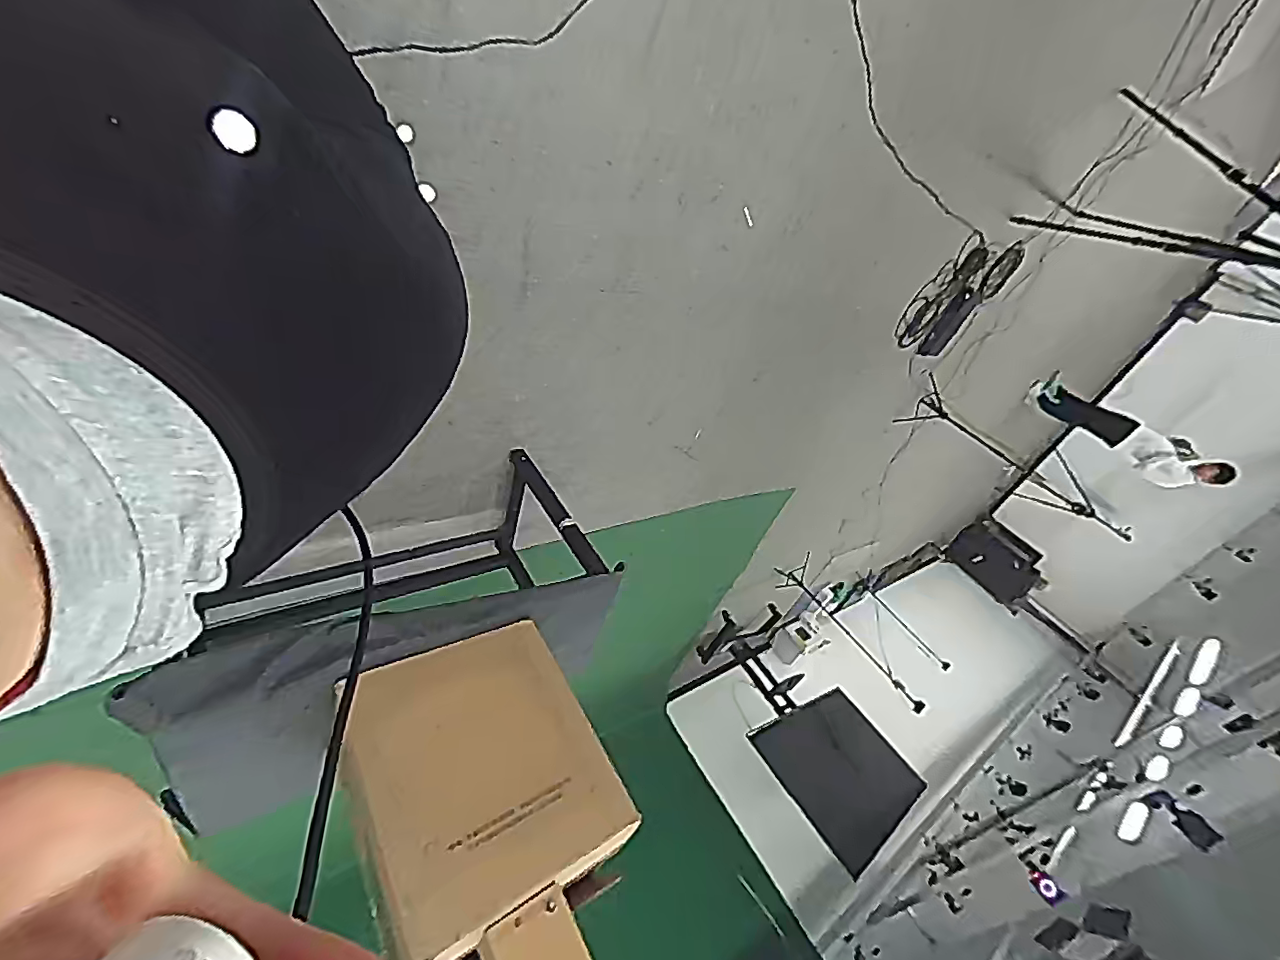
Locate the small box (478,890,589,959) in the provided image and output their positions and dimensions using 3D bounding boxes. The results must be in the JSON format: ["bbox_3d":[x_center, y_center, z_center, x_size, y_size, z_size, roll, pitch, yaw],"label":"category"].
[{"bbox_3d":[-0.225,1.002,1.124,0.168,0.176,0.179,-11,138,-35],"label":"small box"}]
